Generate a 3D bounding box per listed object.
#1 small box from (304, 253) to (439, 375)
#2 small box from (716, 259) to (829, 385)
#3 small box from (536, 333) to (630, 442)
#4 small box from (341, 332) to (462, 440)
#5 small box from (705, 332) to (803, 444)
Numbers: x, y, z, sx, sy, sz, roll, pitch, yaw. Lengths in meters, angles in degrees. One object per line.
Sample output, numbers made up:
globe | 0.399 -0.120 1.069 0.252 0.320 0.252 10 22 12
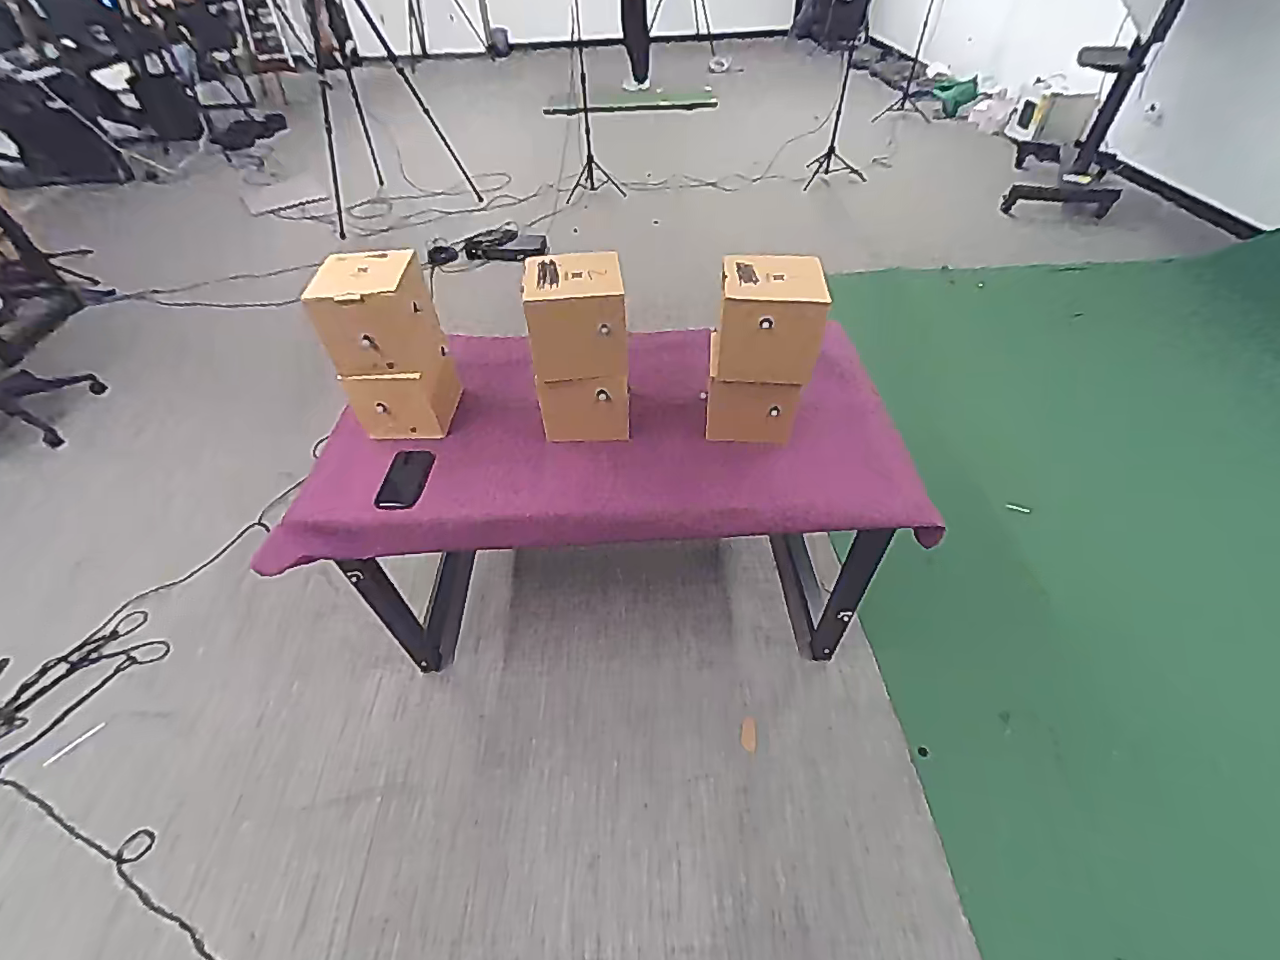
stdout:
small box | -0.506 -0.318 1.053 0.168 0.176 0.179 -4 47 -2
small box | 0.233 -0.290 0.996 0.179 0.176 0.168 3 47 5
small box | -0.111 -0.193 1.143 0.179 0.176 0.168 -1 47 1
small box | -0.501 -0.199 1.167 0.168 0.176 0.179 -1 47 2
small box | 0.230 -0.189 1.126 0.179 0.176 0.168 3 47 6
